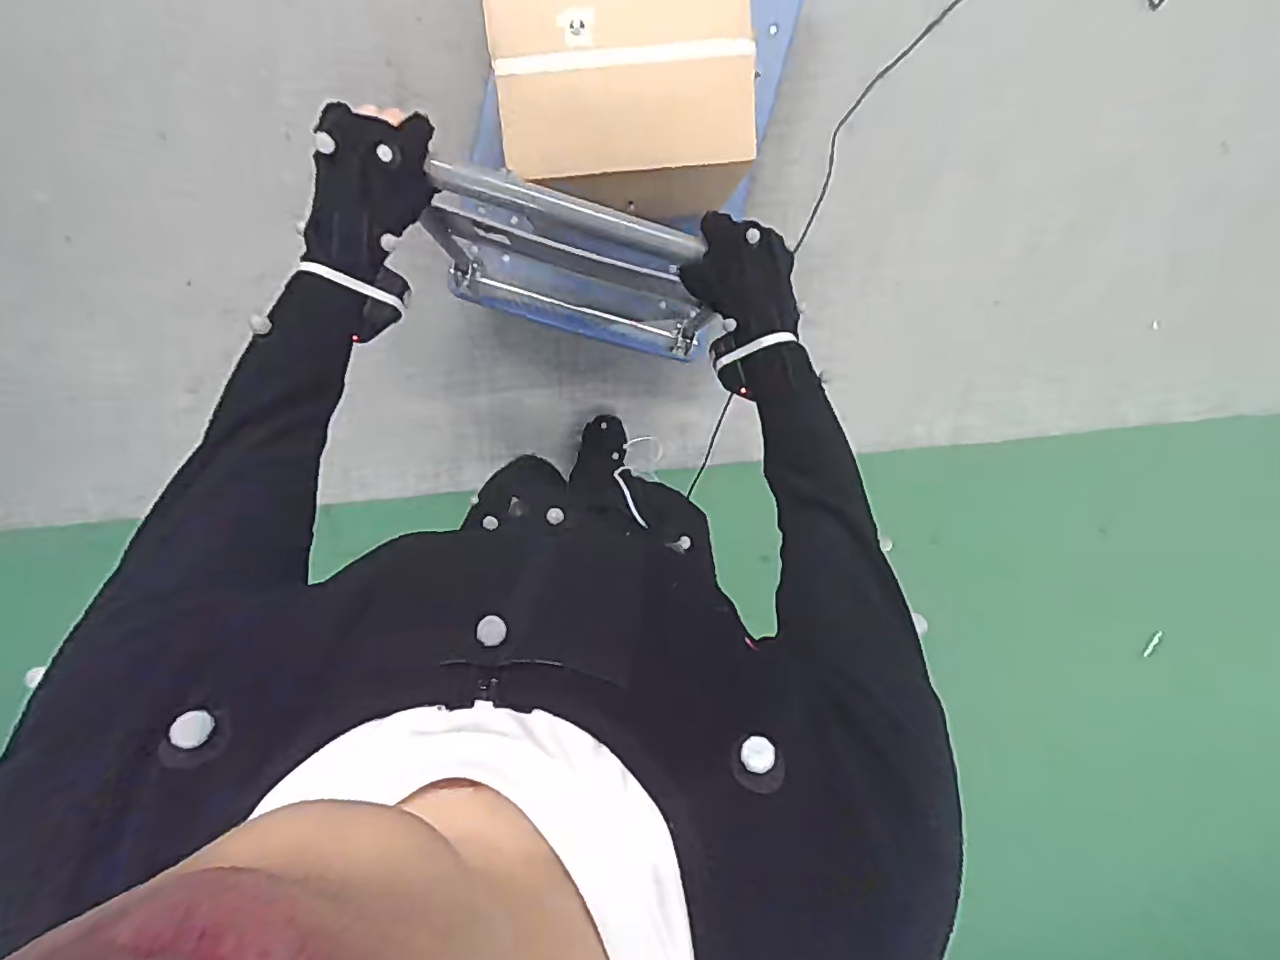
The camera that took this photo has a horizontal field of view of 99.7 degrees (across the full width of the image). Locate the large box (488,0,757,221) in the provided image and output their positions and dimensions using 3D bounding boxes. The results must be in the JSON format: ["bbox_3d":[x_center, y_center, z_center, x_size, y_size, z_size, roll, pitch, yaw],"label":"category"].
[{"bbox_3d":[-0.027,-0.683,0.978,0.408,0.320,0.320,-6,102,-1],"label":"large box"}]
